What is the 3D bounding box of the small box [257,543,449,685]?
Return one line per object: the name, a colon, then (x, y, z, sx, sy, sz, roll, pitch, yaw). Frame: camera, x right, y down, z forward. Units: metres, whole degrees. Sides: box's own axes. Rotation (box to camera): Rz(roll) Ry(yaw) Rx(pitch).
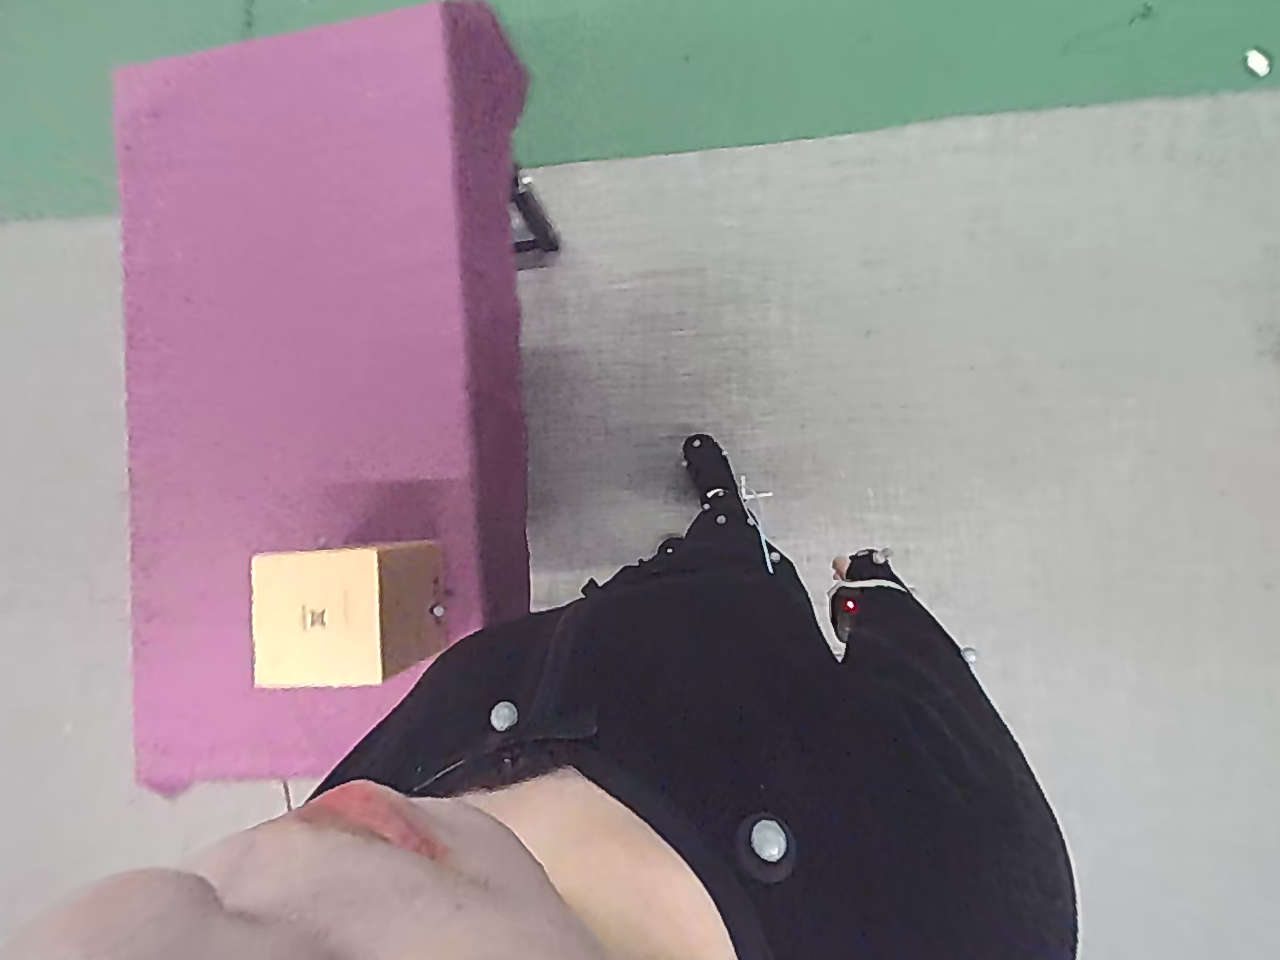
small box: (-0.388, 0.177, 0.752, 0.179, 0.176, 0.168, -4, 87, 7)
